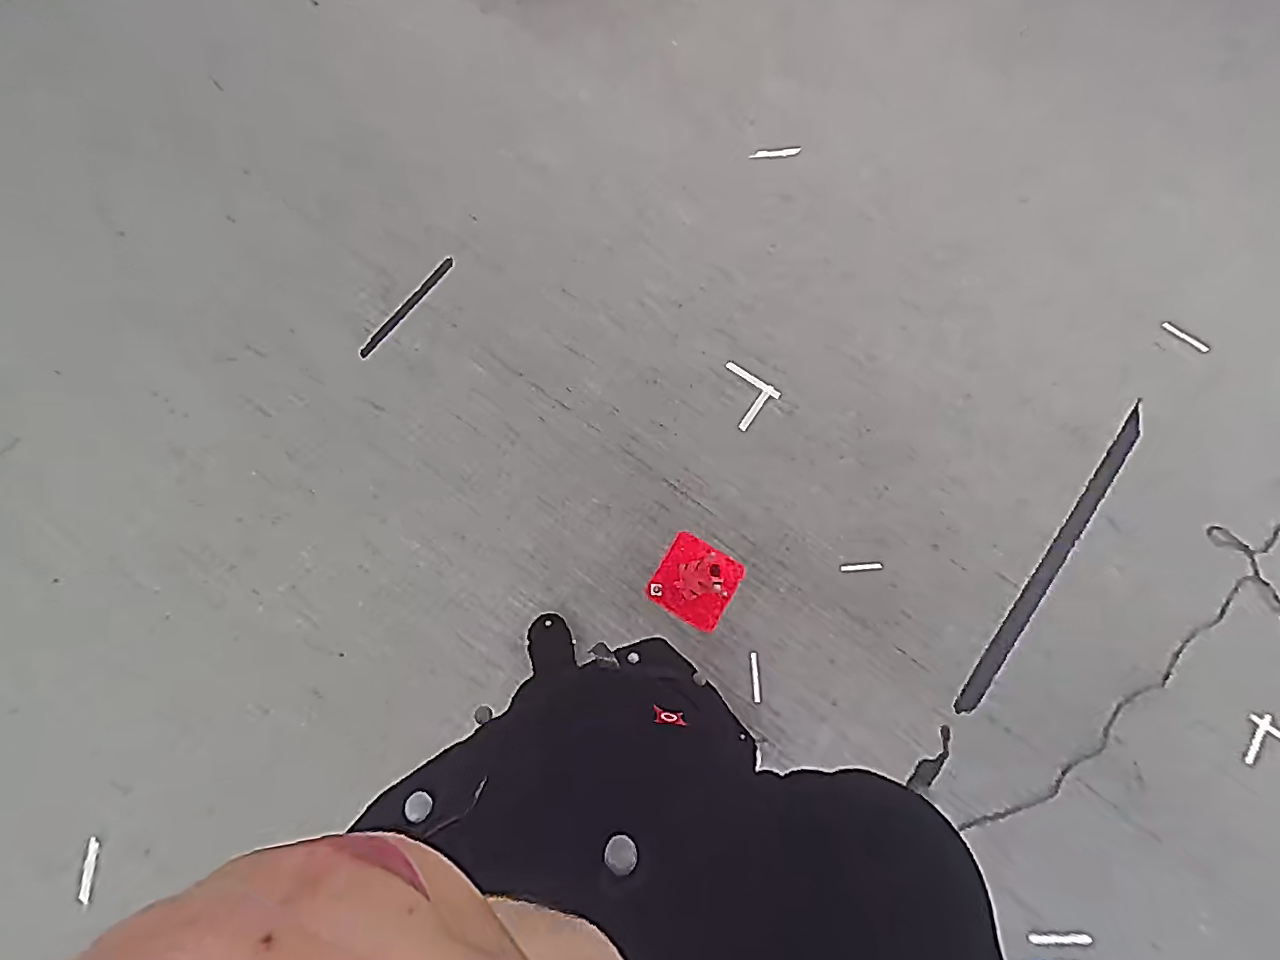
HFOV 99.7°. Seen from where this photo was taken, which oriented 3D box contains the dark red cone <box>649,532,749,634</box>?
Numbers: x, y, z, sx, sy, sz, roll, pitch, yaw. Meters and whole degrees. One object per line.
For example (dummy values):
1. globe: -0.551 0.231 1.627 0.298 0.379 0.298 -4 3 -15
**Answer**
1. dark red cone: 0.151 0.213 1.180 0.201 0.394 0.202 30 78 5
